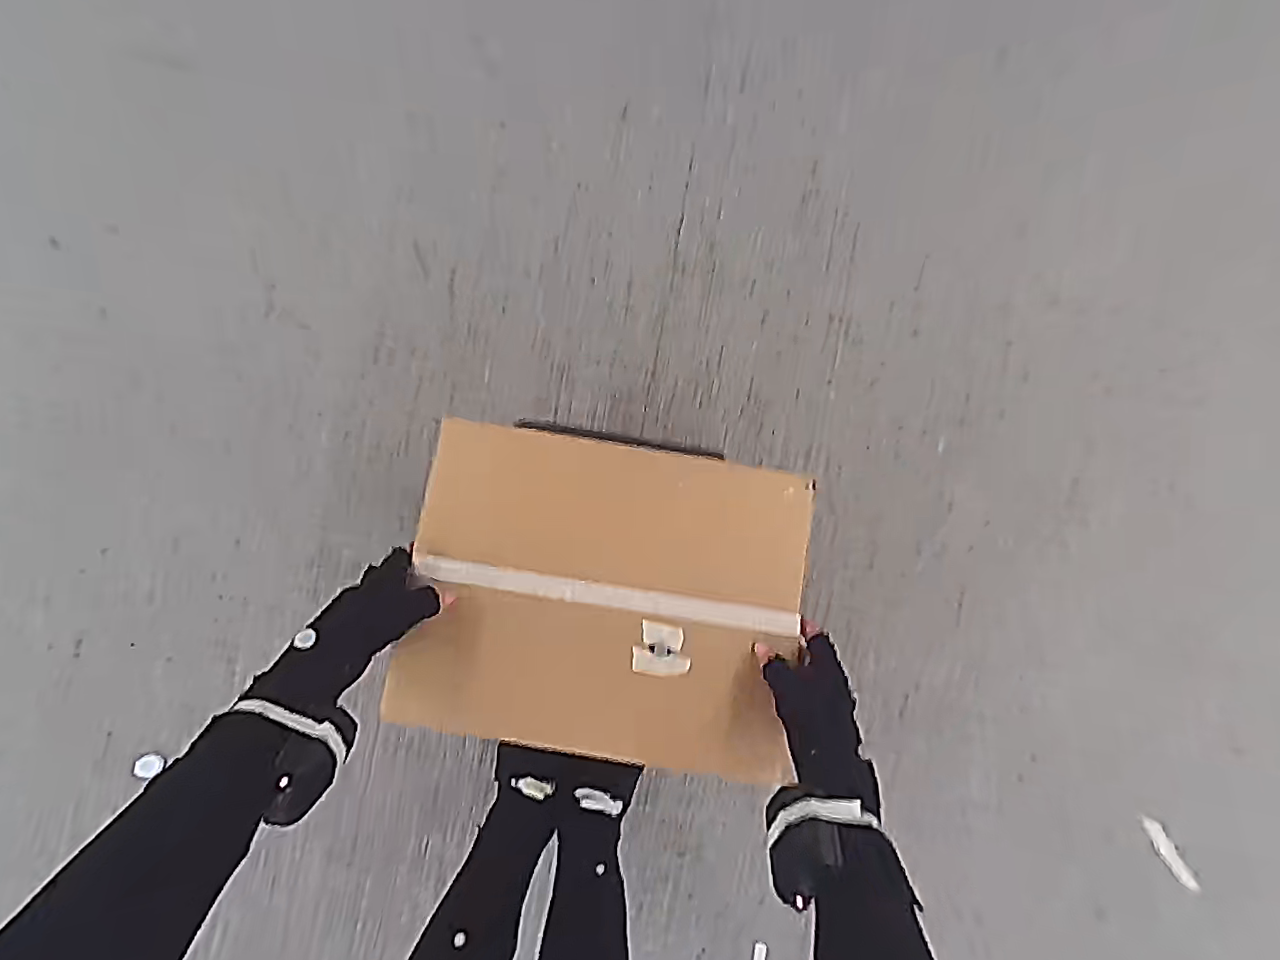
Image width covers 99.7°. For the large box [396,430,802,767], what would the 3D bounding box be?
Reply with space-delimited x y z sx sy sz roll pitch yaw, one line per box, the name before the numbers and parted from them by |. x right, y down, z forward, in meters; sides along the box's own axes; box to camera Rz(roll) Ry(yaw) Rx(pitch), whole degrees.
large box | -0.040 0.143 0.726 0.408 0.320 0.320 9 82 1
